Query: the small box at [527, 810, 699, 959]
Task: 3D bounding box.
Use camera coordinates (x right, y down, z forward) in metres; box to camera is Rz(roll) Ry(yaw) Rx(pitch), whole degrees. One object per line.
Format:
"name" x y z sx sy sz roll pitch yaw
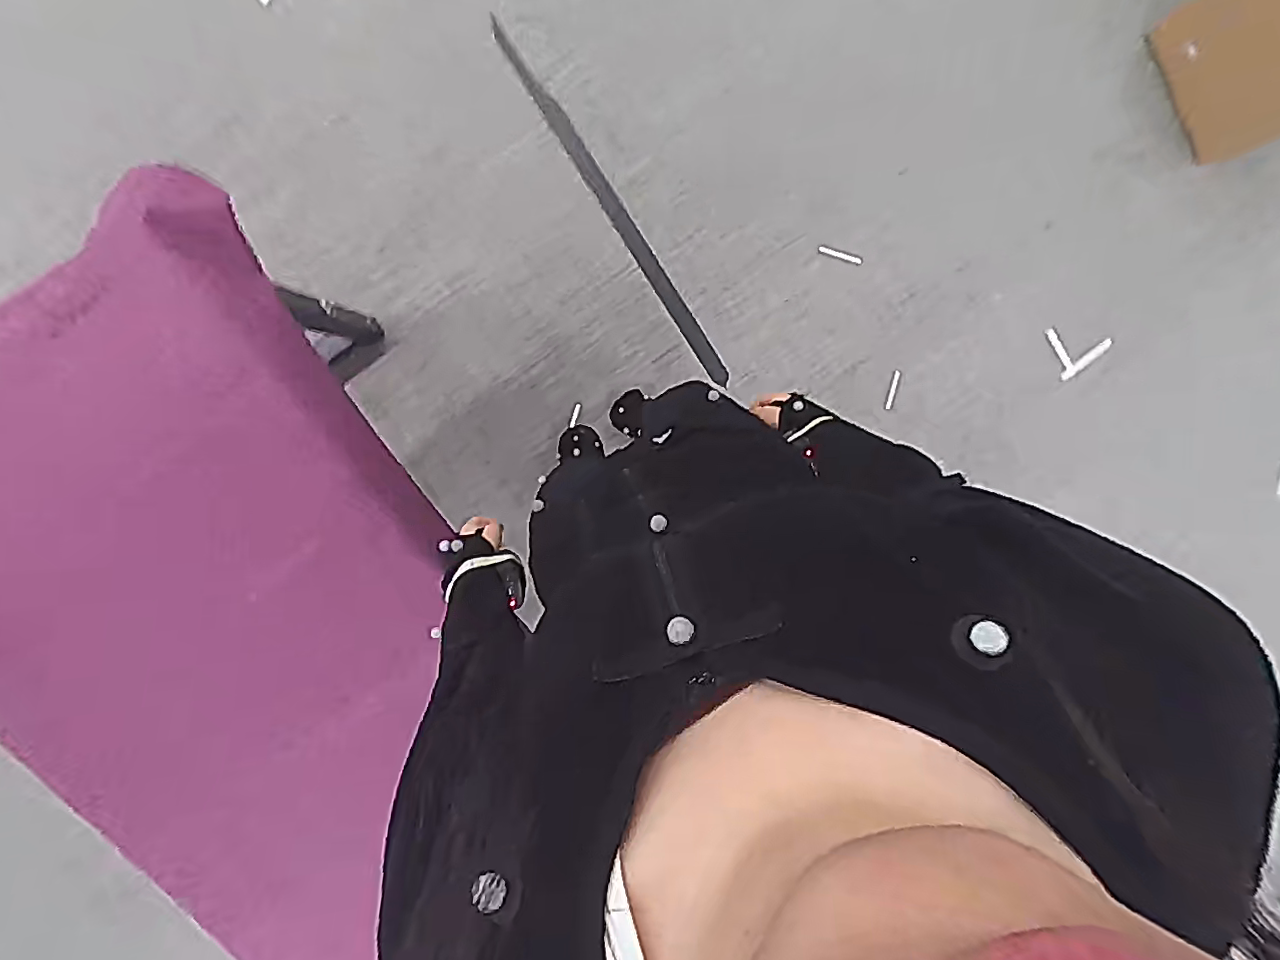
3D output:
"small box" -0.041 0.621 0.765 0.179 0.176 0.168 -34 99 1
